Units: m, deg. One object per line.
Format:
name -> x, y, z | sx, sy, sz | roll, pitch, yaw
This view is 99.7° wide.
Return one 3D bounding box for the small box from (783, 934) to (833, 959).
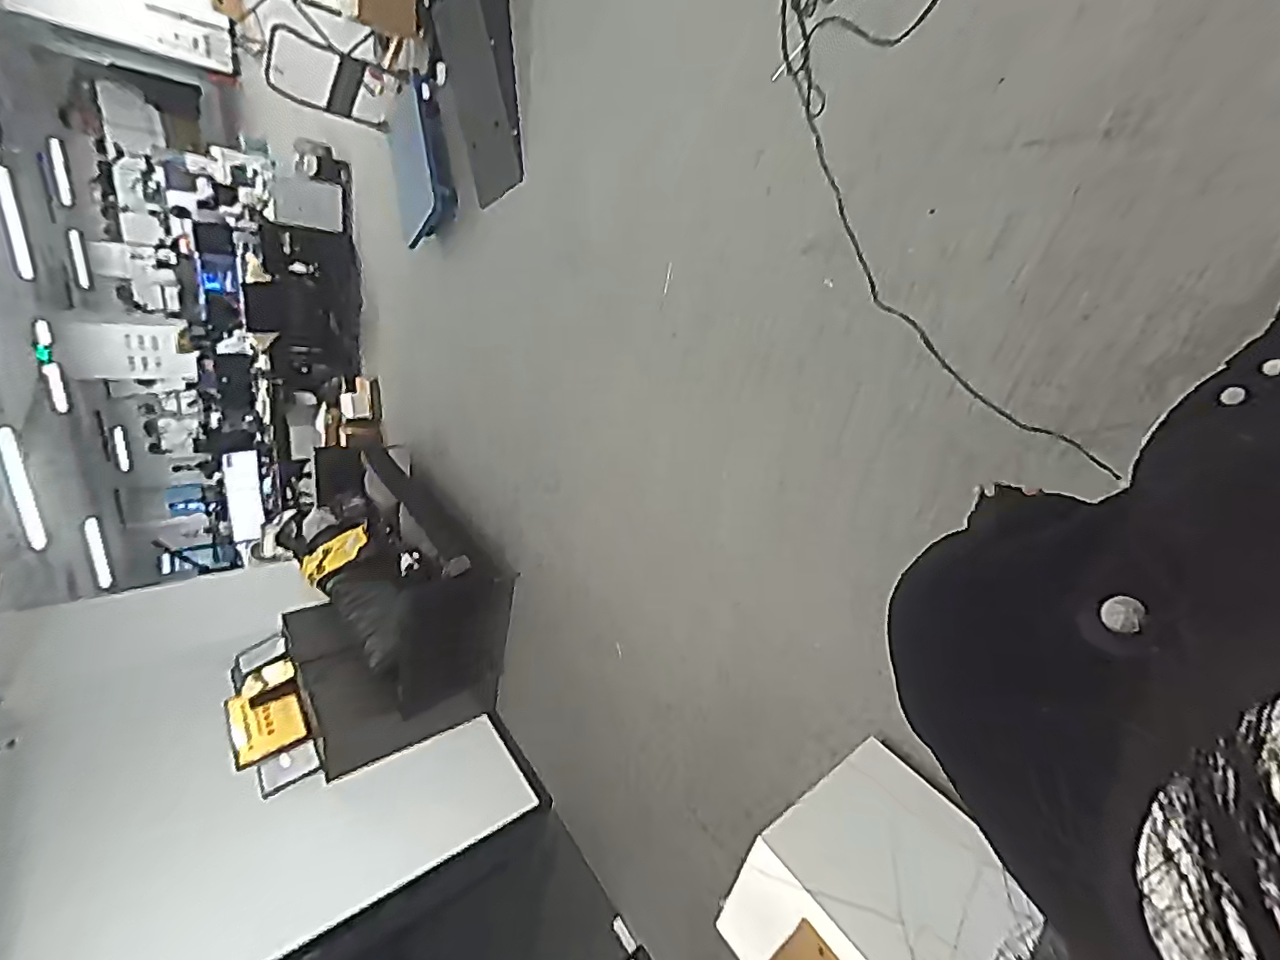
small box -> 0.339, 1.104, 1.113 | 0.168, 0.176, 0.179 | 38, 125, 40
